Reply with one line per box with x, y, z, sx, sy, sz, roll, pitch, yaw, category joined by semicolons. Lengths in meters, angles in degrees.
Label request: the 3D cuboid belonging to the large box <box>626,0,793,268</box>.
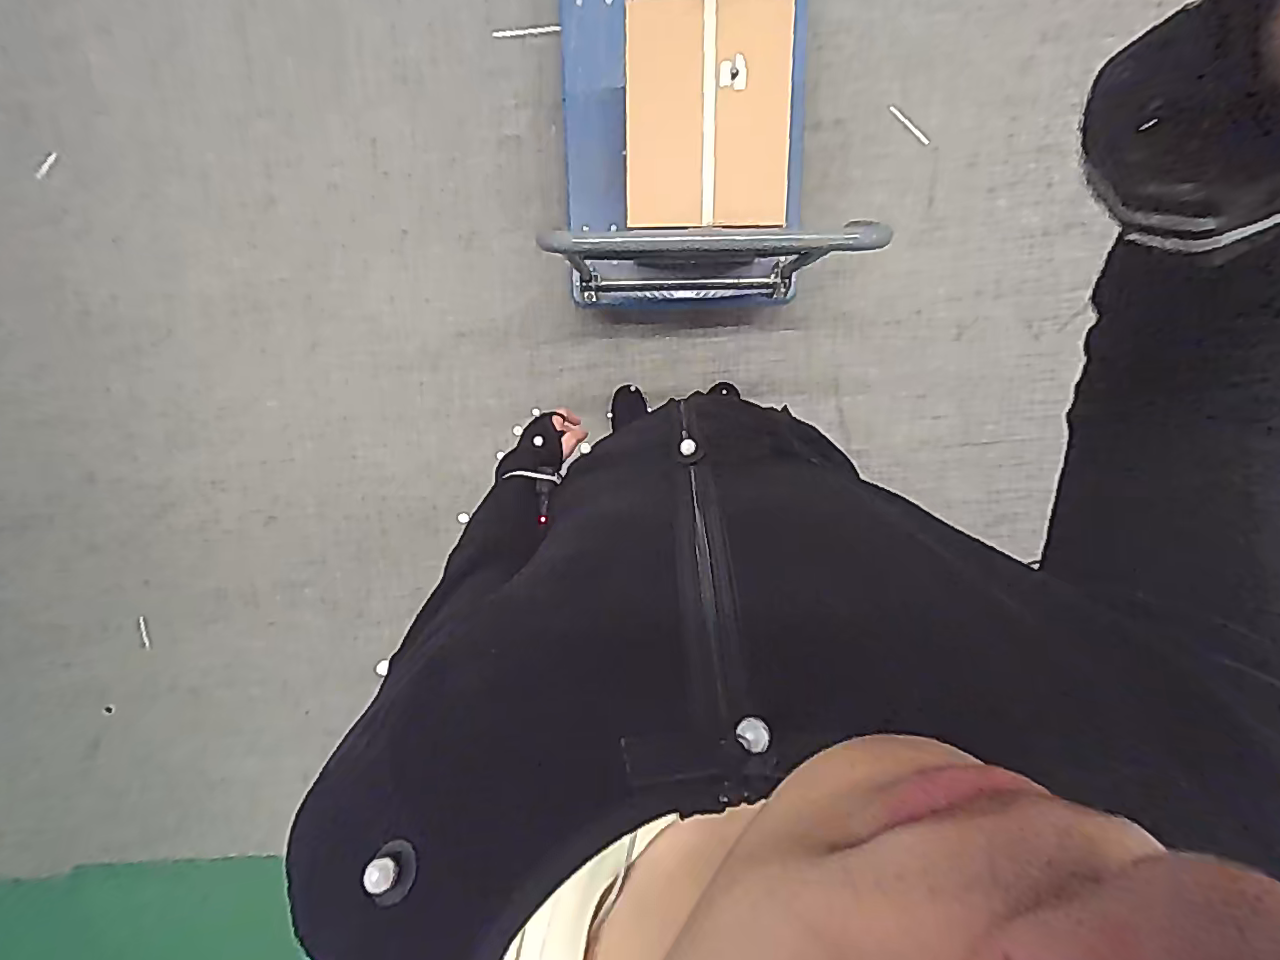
0.137;-0.705;1.168;0.320;0.320;0.408;0;99;1;large box
